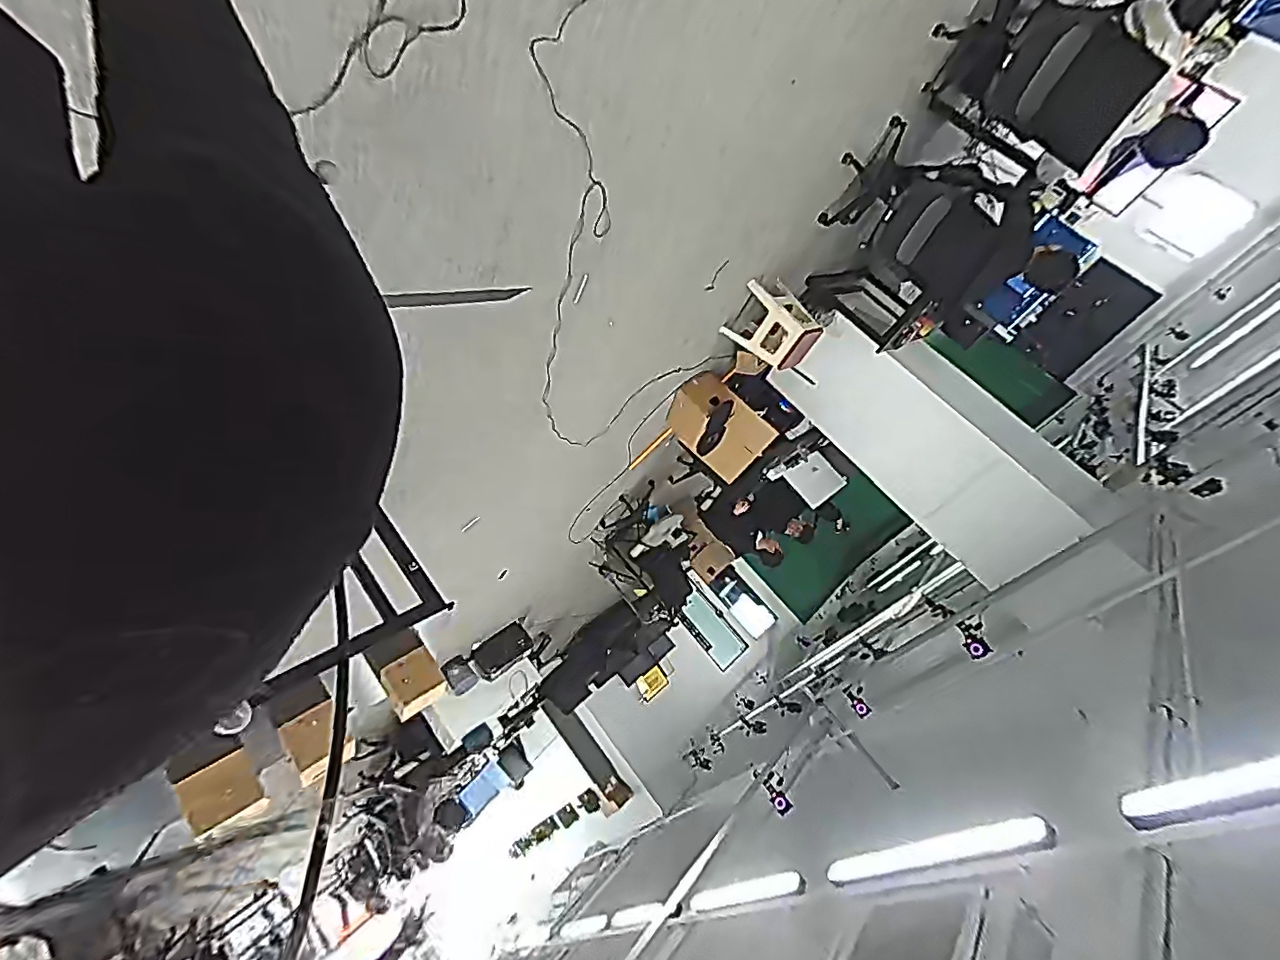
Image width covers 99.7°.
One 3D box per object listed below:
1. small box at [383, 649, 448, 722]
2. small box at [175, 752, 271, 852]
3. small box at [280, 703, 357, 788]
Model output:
[{"bbox_3d":[-0.833,0.752,1.996,0.168,0.176,0.179,-26,158,-39],"label":"small box"},{"bbox_3d":[-1.226,0.944,1.597,0.179,0.176,0.168,-26,157,-45],"label":"small box"},{"bbox_3d":[-1.058,0.868,1.780,0.168,0.176,0.179,-27,157,-42],"label":"small box"}]
